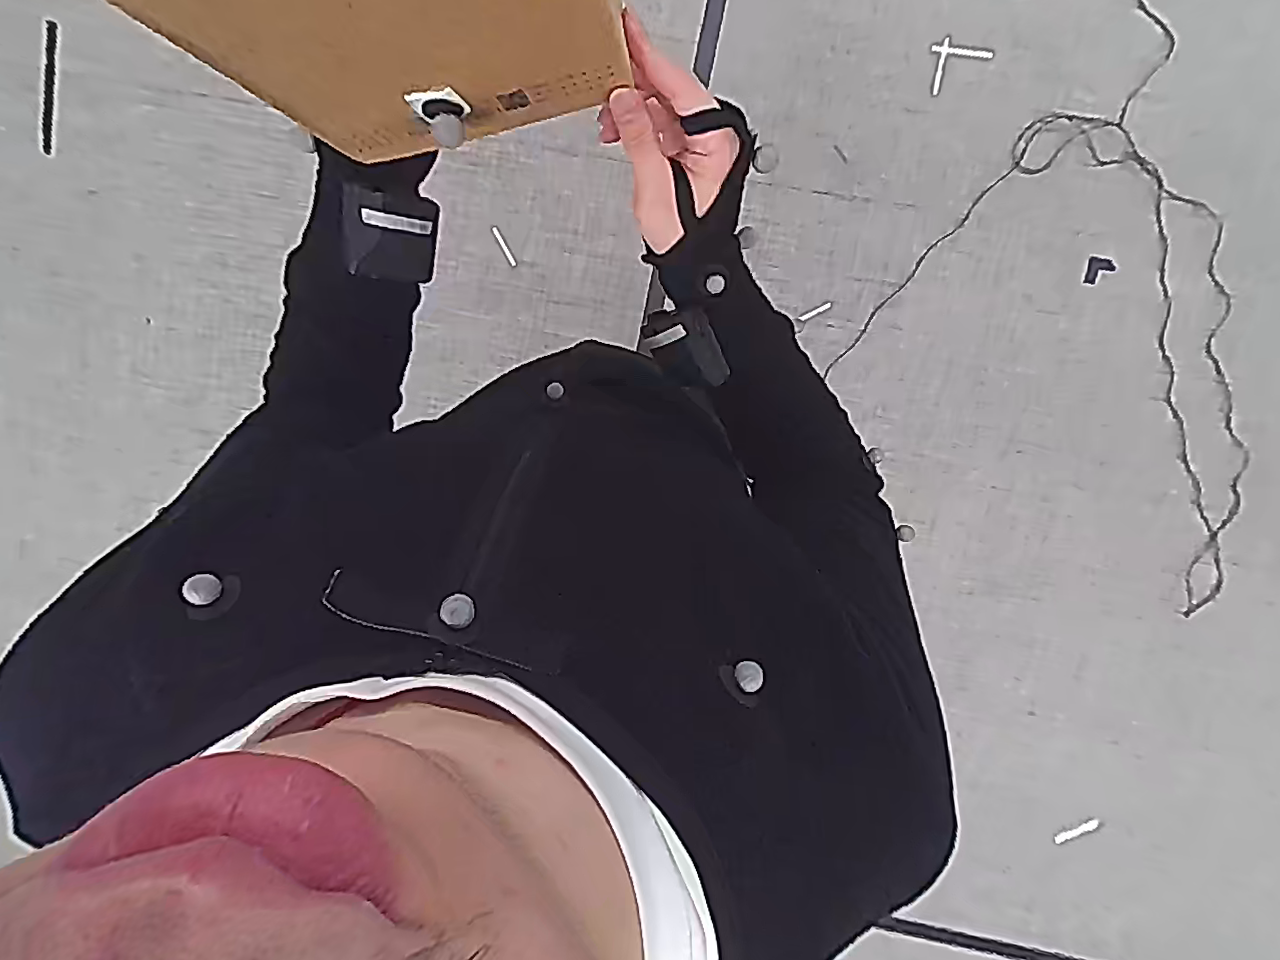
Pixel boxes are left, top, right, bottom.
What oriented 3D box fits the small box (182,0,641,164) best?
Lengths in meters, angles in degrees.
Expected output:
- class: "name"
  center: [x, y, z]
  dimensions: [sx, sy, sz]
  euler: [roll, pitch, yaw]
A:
- class: "small box"
  center: [-0.102, -0.272, 0.225]
  dimensions: [0.168, 0.176, 0.179]
  euler: [-9, 98, 10]
